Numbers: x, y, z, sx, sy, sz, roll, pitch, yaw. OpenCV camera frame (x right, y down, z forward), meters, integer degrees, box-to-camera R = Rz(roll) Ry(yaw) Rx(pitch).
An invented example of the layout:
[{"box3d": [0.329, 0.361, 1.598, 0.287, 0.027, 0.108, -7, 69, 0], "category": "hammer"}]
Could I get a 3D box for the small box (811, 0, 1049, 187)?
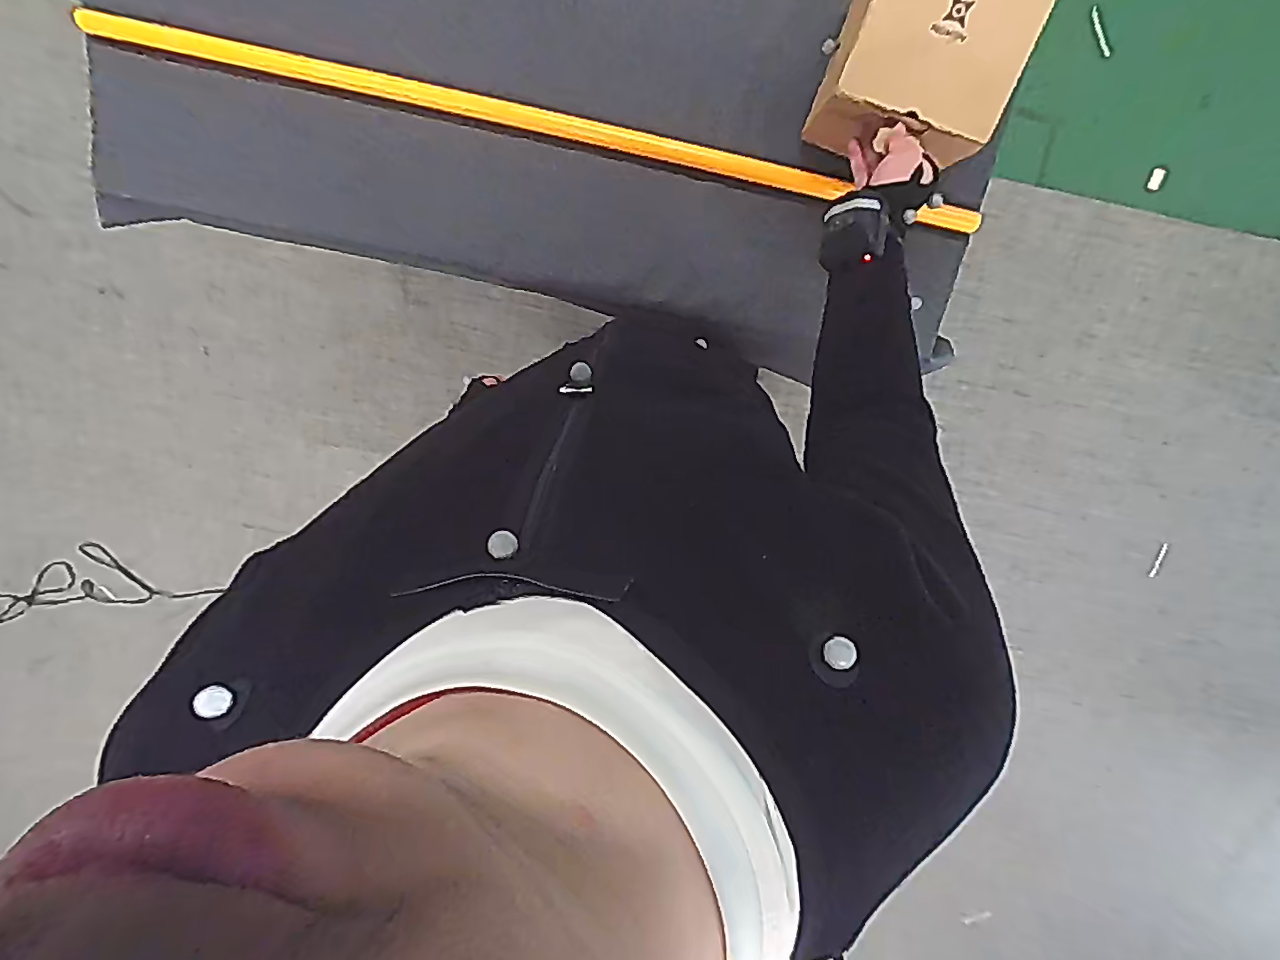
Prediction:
[{"box3d": [0.308, -0.459, 0.612, 0.168, 0.176, 0.179, 17, 107, 1], "category": "small box"}]
